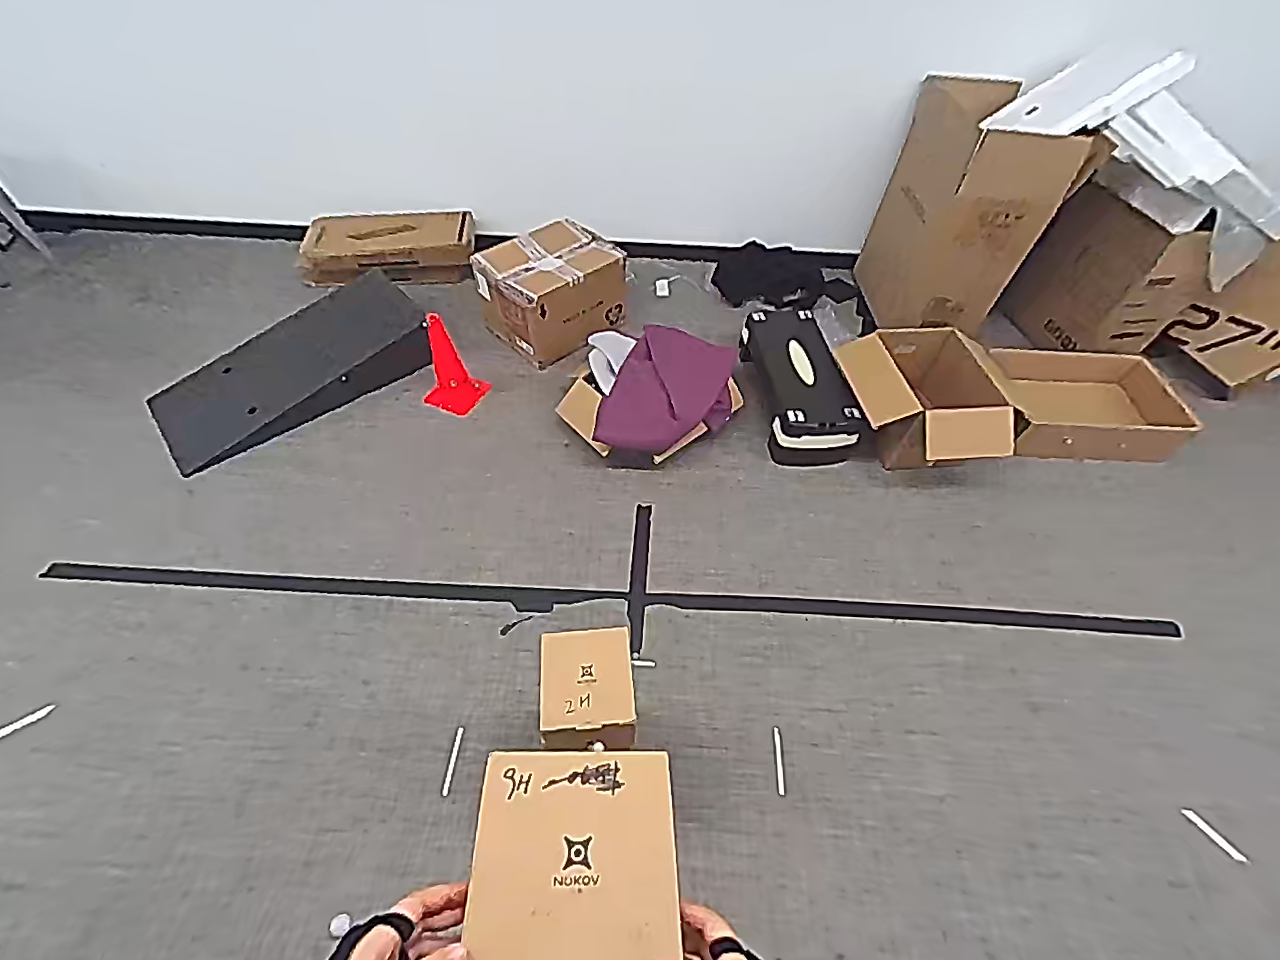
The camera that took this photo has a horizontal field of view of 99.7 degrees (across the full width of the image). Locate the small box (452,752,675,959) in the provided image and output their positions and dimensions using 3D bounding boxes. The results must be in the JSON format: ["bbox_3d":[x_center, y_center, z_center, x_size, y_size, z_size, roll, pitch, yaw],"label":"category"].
[{"bbox_3d":[-0.062,0.366,0.488,0.168,0.176,0.179,4,45,-5],"label":"small box"}]

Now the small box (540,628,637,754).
[{"bbox_3d":[-0.096,0.401,1.025,0.168,0.176,0.179,-4,52,-4],"label":"small box"}]
